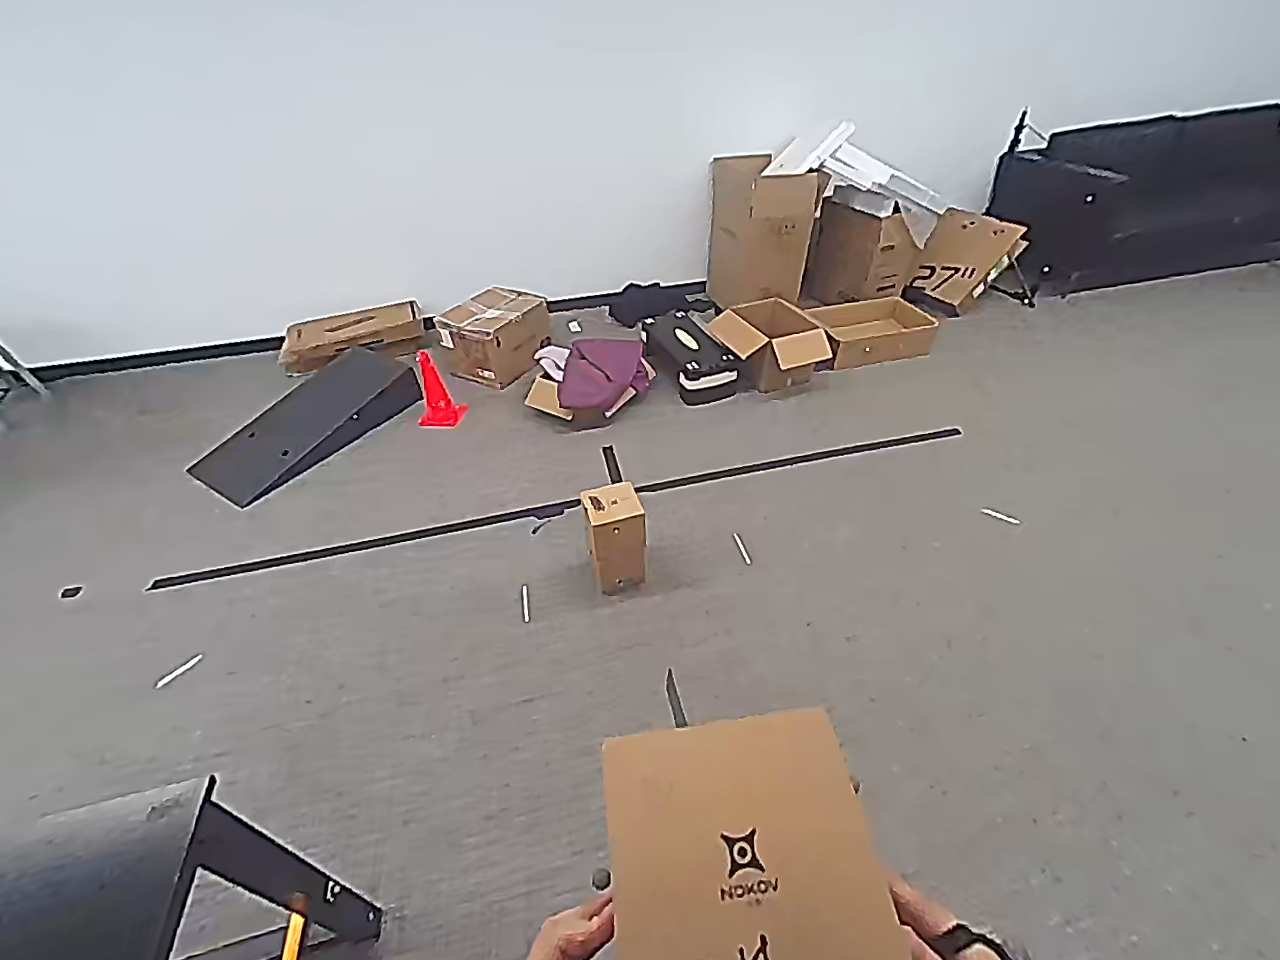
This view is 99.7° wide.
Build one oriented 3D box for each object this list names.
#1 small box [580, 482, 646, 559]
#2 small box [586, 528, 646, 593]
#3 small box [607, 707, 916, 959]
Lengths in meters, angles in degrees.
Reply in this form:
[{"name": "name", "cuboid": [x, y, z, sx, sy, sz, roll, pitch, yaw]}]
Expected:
[{"name": "small box", "cuboid": [-0.087, 0.136, 1.782, 0.179, 0.176, 0.168, -14, 42, -12]}, {"name": "small box", "cuboid": [-0.084, 0.263, 1.887, 0.168, 0.176, 0.179, -16, 44, -13]}, {"name": "small box", "cuboid": [0.069, 0.289, 0.388, 0.168, 0.176, 0.179, -8, 49, -3]}]
